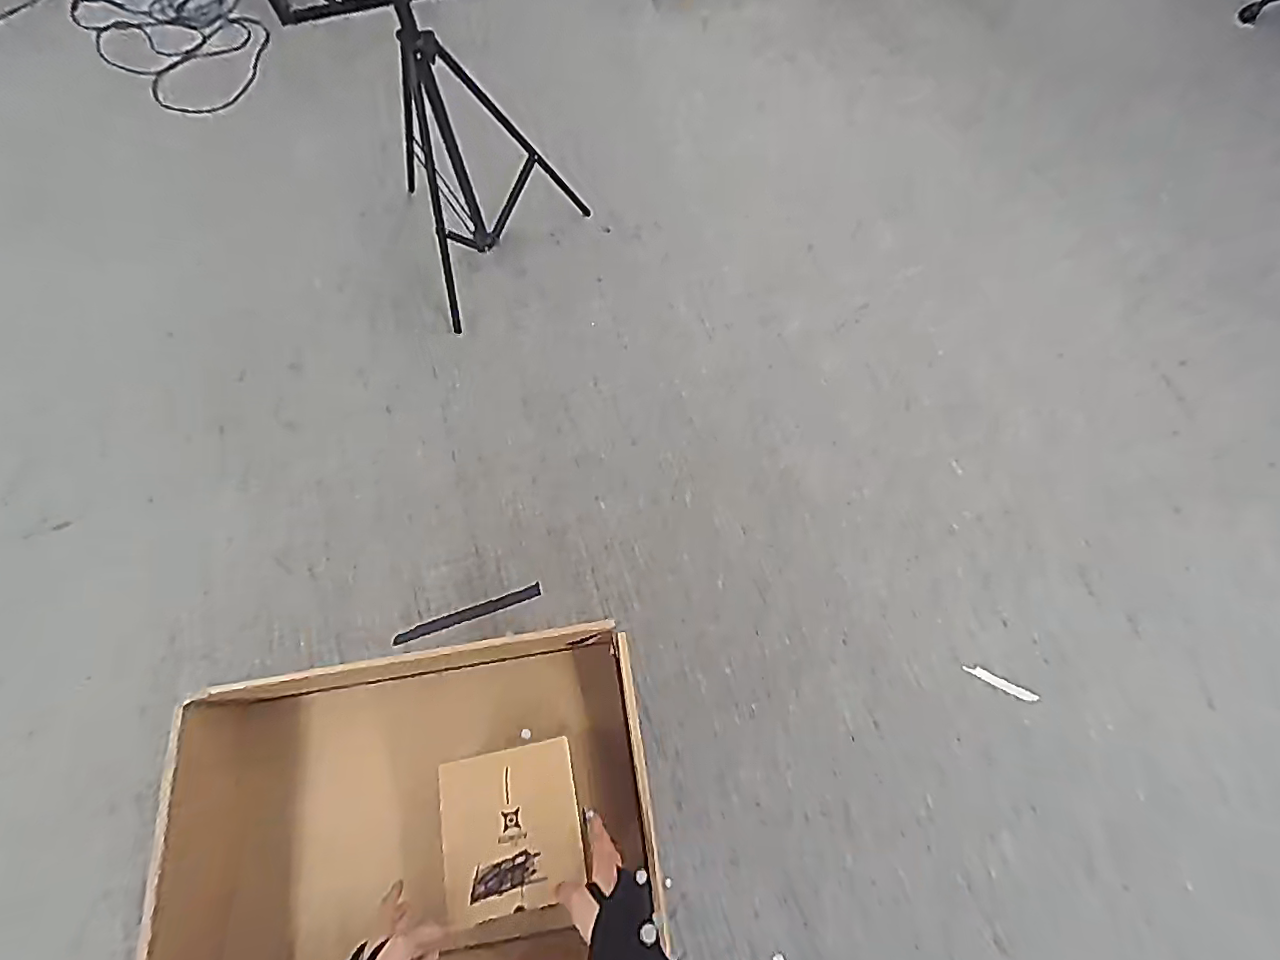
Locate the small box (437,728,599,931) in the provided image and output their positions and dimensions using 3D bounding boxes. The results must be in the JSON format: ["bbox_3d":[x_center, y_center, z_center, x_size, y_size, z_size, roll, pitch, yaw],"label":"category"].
[{"bbox_3d":[-0.152,0.440,0.711,0.168,0.176,0.179,-11,68,-4],"label":"small box"}]
